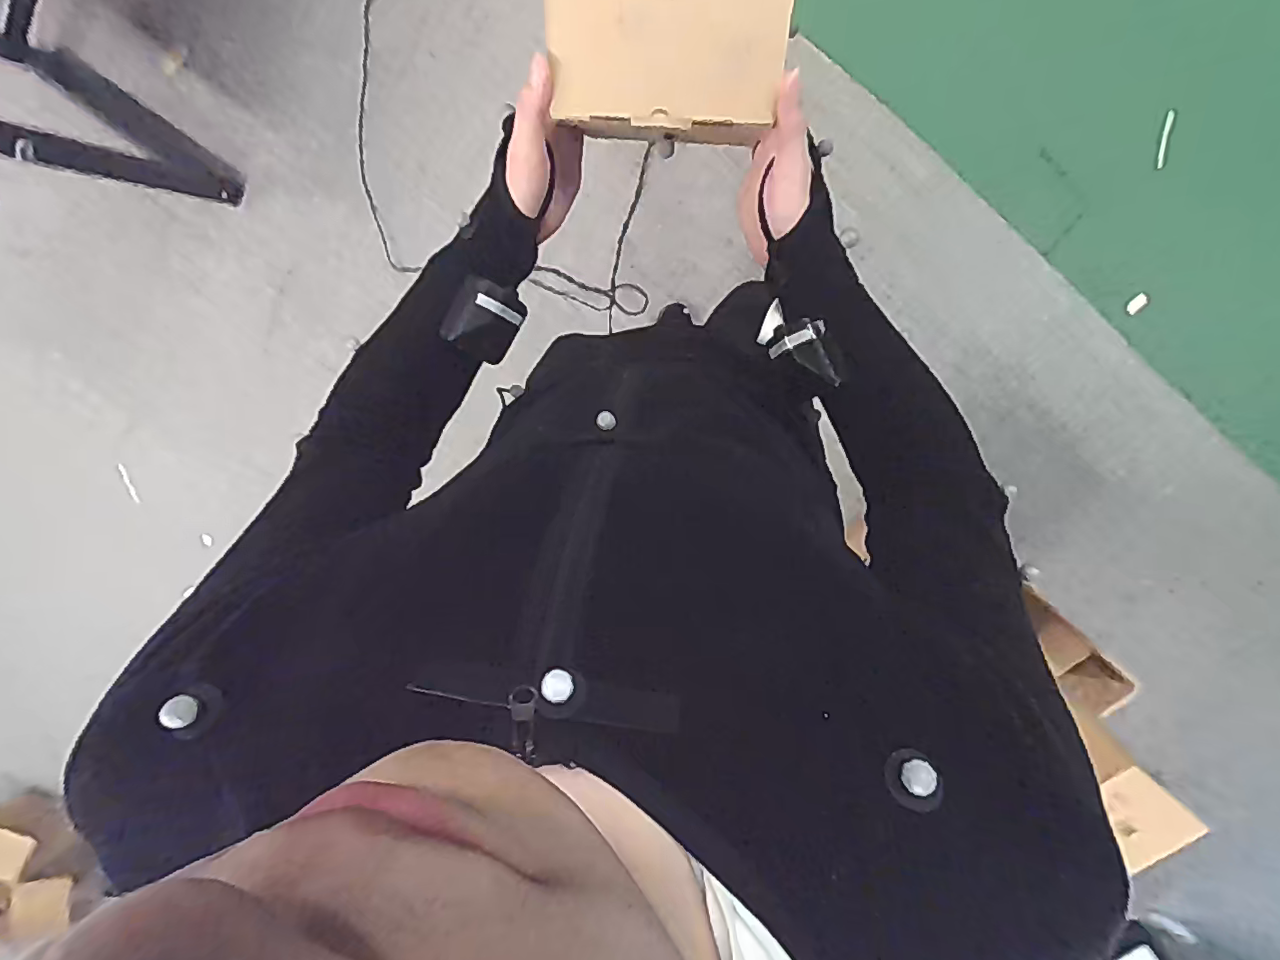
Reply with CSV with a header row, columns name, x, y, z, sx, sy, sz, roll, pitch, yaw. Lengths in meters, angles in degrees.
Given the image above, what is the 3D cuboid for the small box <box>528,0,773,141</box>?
name,x,y,z,sx,sy,sz,roll,pitch,yaw
small box,0.016,-0.368,0.415,0.168,0.176,0.179,4,119,4

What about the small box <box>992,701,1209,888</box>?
name,x,y,z,sx,sy,sz,roll,pitch,yaw
small box,0.740,0.508,0.893,0.179,0.176,0.168,39,107,-5

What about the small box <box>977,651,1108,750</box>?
name,x,y,z,sx,sy,sz,roll,pitch,yaw
small box,0.769,0.469,1.051,0.179,0.176,0.168,41,107,-6
